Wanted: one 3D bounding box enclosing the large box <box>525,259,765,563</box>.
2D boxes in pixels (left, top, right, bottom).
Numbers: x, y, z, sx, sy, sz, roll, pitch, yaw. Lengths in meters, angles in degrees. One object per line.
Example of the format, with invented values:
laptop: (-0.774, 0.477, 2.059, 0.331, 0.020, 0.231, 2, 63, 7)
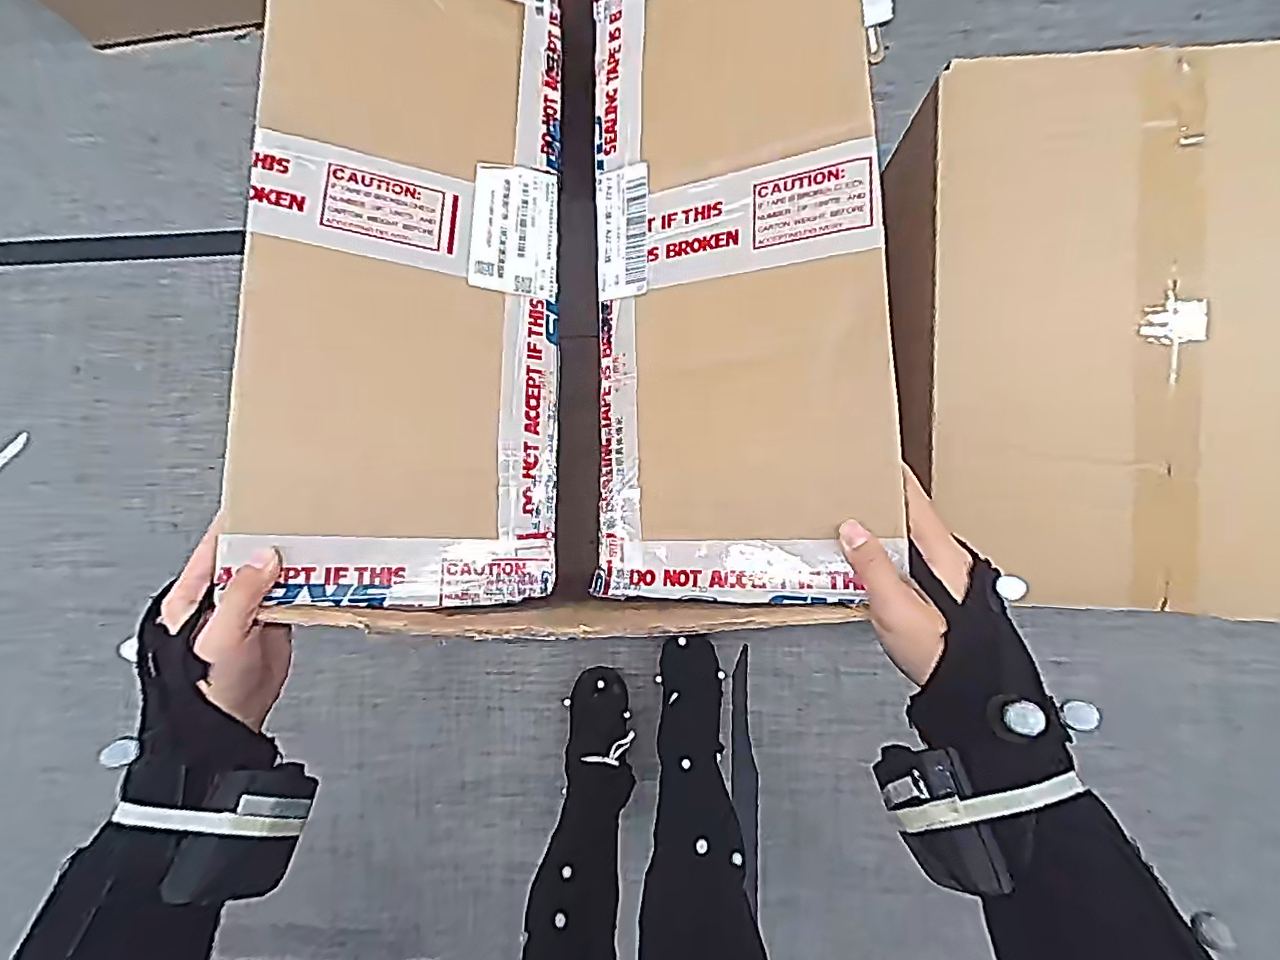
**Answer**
large box: (0.013, -0.094, 0.878, 0.320, 0.320, 0.408, -2, 91, 4)
